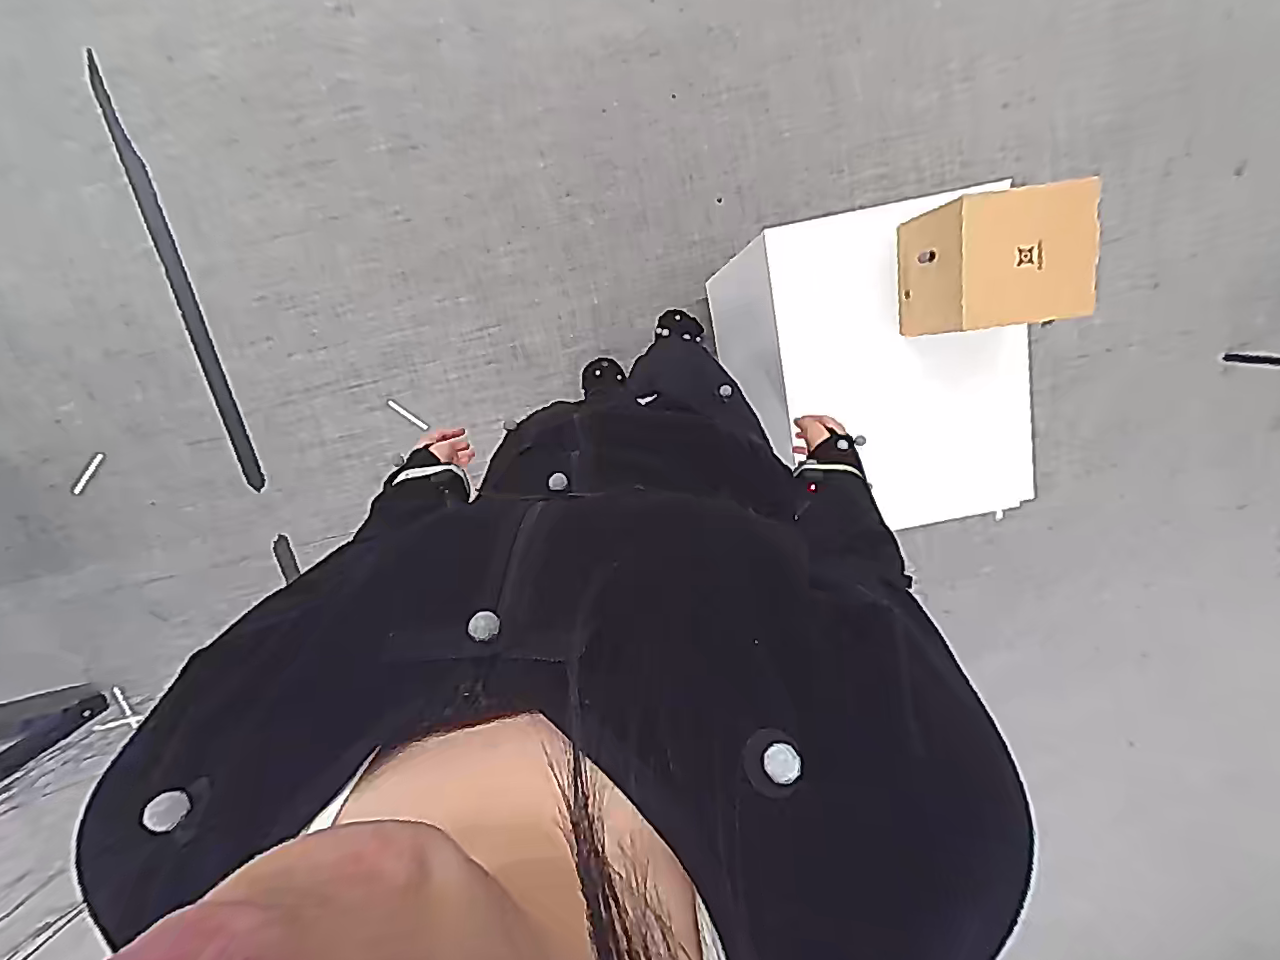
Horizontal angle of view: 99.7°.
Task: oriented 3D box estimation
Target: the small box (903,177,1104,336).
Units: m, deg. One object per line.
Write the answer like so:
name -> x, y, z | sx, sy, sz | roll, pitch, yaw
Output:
small box -> 0.486, -0.297, 0.751 | 0.179, 0.176, 0.168 | -8, 103, 0
